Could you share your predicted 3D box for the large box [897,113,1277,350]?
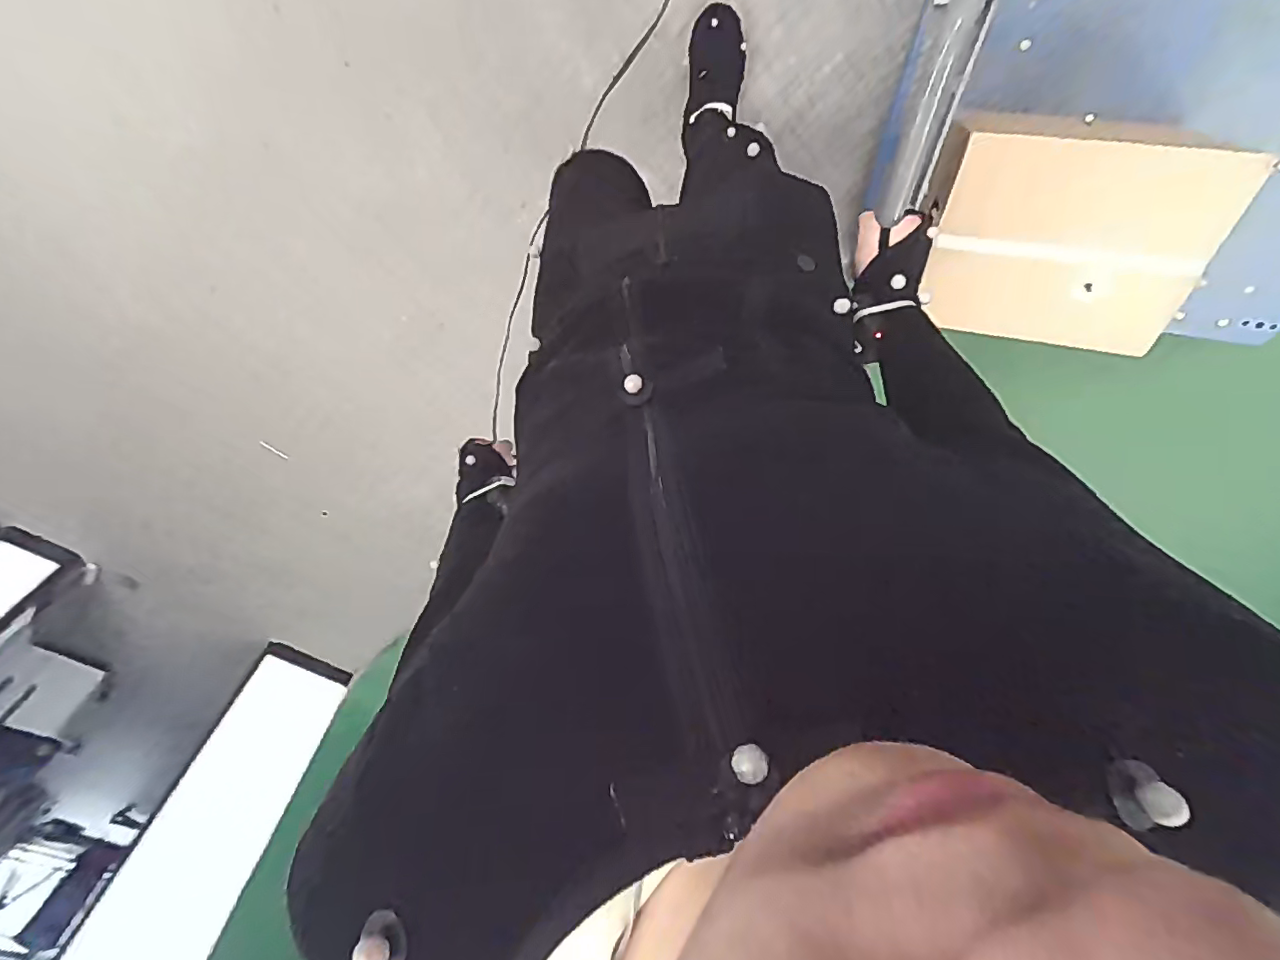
[{"bbox_3d":[0.743,-0.474,1.004,0.408,0.320,0.320,13,132,11],"label":"large box"}]
